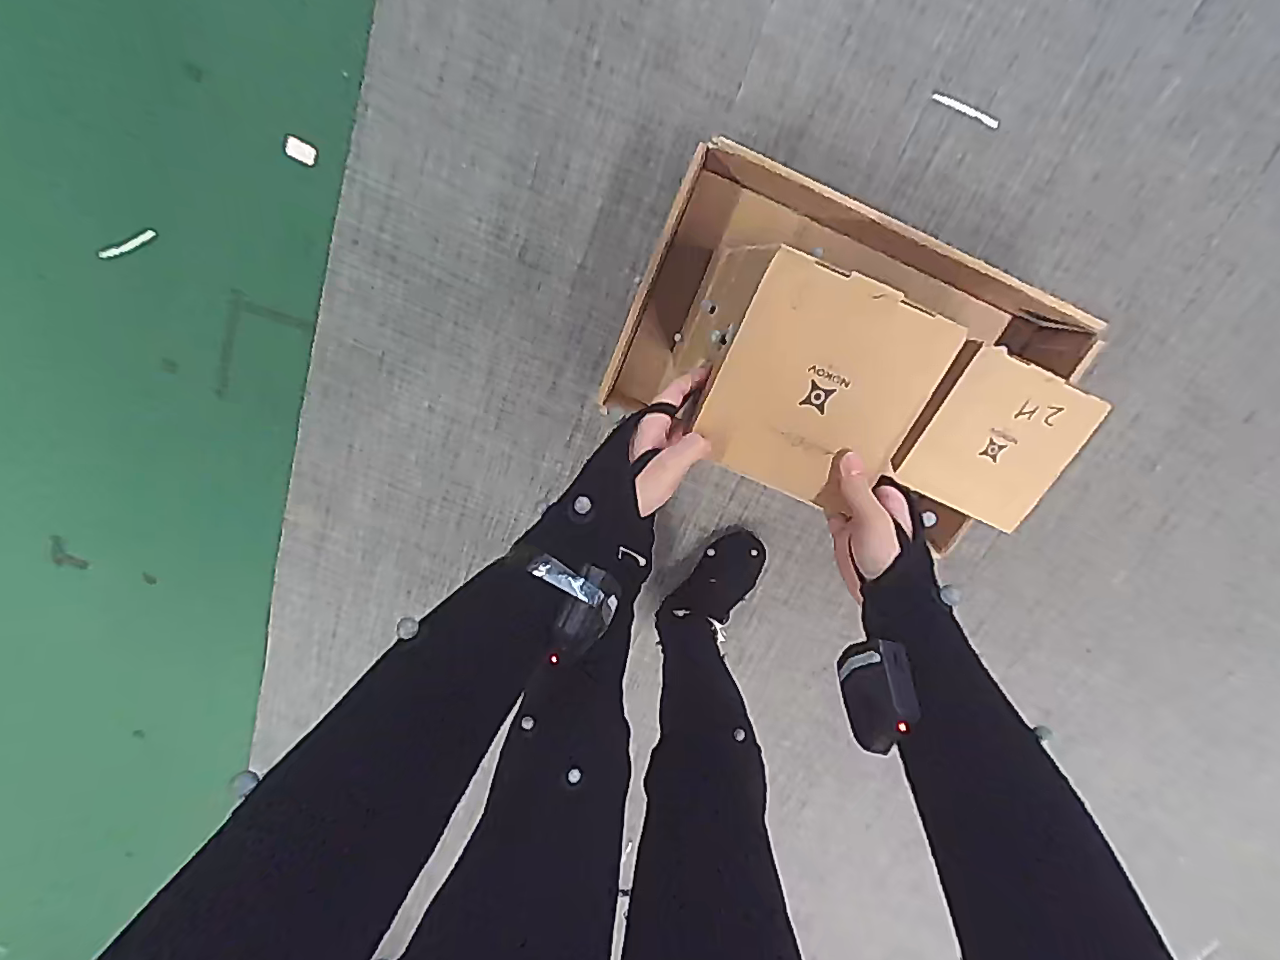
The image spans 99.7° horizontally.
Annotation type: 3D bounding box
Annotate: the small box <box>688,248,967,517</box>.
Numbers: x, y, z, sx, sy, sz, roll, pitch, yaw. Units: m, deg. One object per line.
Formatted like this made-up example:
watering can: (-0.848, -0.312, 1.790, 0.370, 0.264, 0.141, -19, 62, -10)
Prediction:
small box: (0.149, -0.099, 0.510, 0.168, 0.176, 0.179, 22, 112, -6)

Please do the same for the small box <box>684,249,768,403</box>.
small box: (0.157, -0.161, 0.660, 0.168, 0.176, 0.179, 22, 111, -5)

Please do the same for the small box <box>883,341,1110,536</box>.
small box: (0.408, -0.065, 0.681, 0.168, 0.176, 0.179, 24, 110, -4)
